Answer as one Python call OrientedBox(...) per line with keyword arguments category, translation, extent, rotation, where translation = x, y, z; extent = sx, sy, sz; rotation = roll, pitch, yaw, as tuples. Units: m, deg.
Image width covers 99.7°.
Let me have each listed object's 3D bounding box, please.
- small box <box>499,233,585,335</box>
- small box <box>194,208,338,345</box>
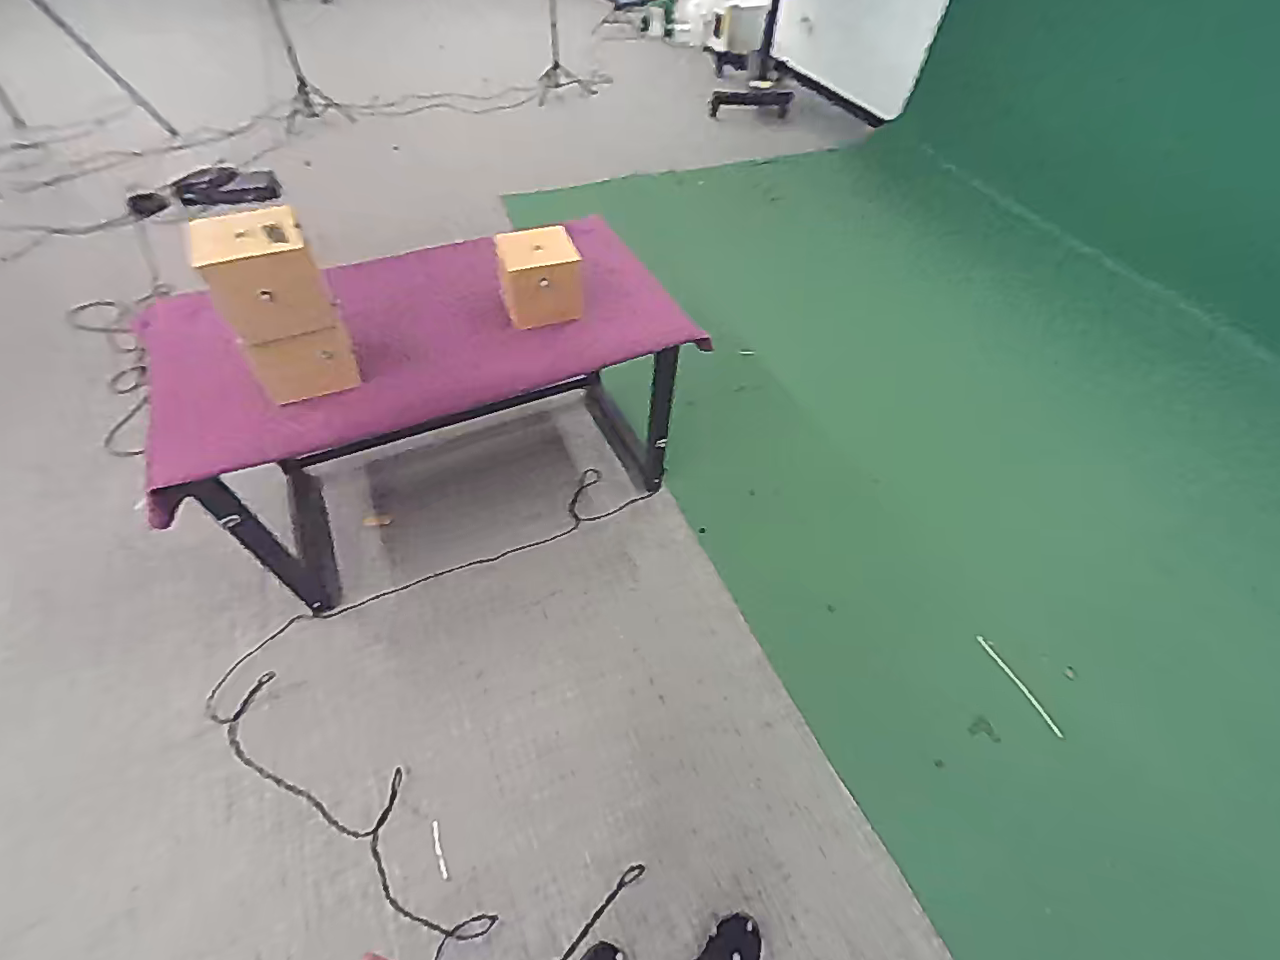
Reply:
OrientedBox(category="small box", translation=(-0.245, -0.493, 1.366), extent=(0.179, 0.176, 0.168), rotation=(-15, 56, -15))
OrientedBox(category="small box", translation=(-0.699, -0.385, 1.028), extent=(0.179, 0.176, 0.168), rotation=(-21, 57, -20))
